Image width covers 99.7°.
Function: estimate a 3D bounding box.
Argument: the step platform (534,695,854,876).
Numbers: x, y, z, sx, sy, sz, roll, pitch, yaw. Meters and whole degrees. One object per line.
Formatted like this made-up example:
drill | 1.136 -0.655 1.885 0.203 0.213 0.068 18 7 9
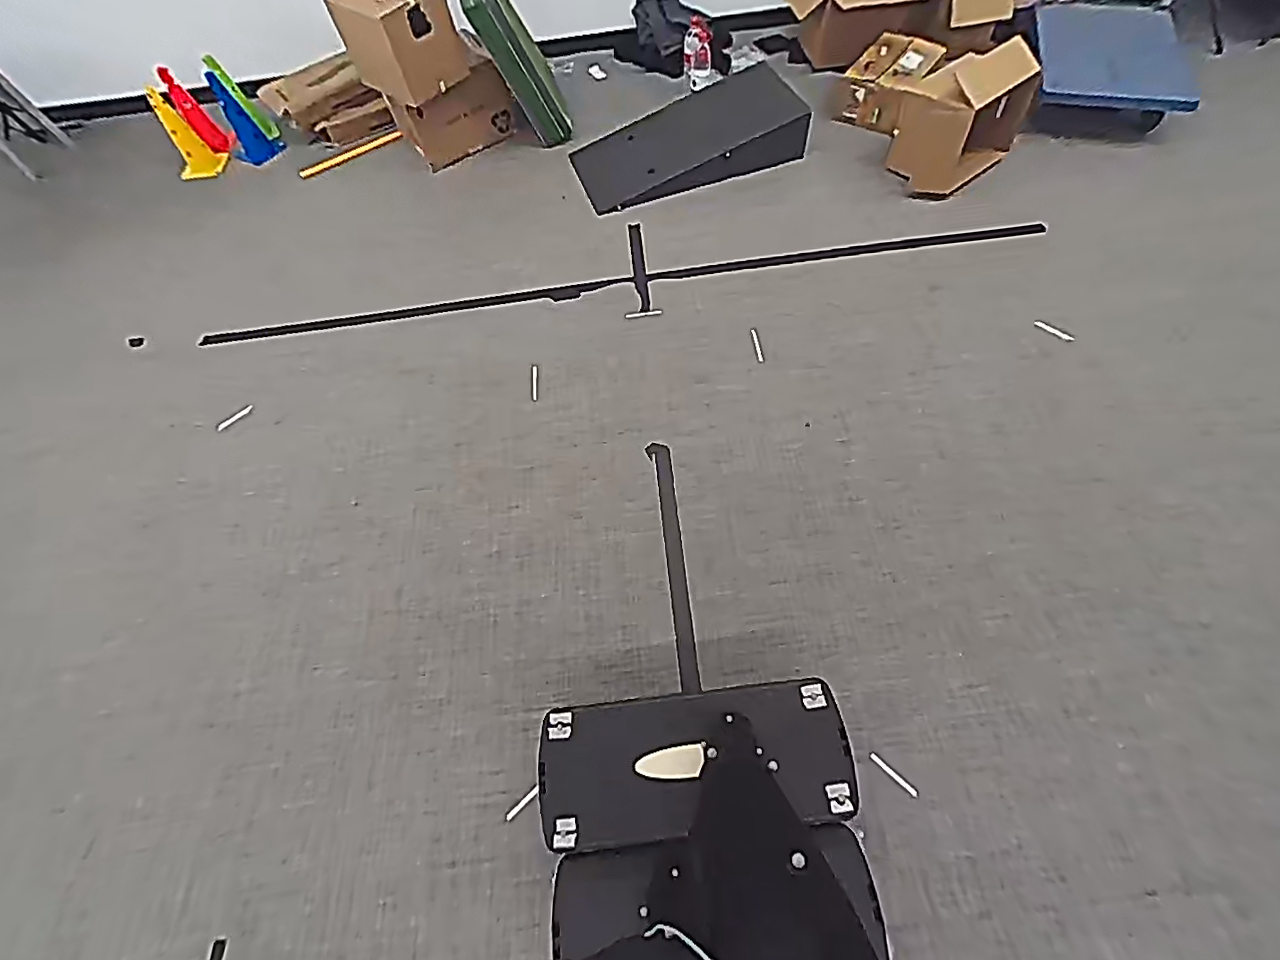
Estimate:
step platform | 0.109 0.673 1.212 0.684 0.204 0.286 -7 61 -1
